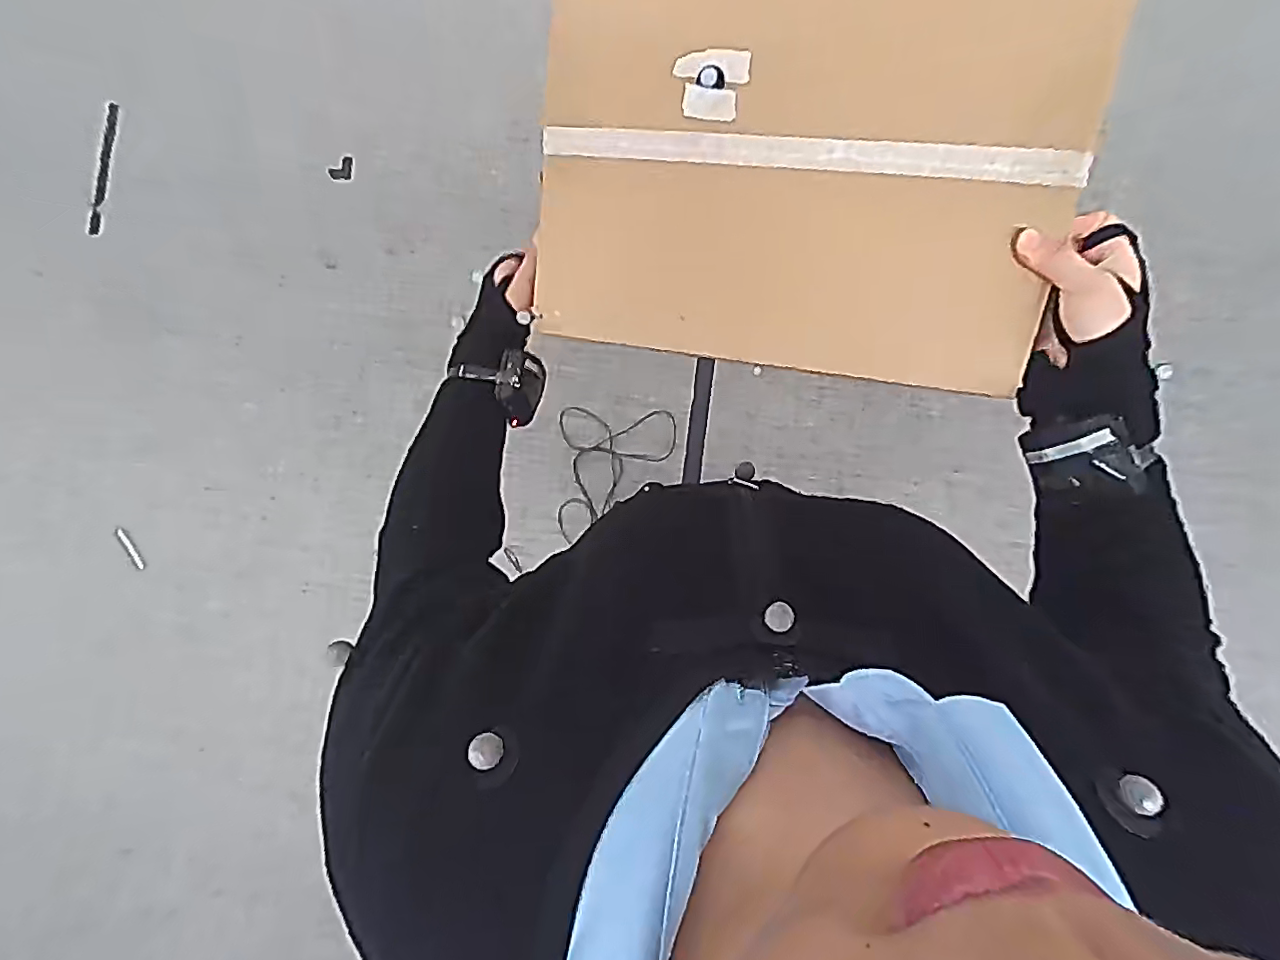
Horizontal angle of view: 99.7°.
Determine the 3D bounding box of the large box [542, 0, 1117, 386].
[{"bbox_3d":[0.154,-0.284,0.566,0.408,0.320,0.320,11,104,13],"label":"large box"}]
